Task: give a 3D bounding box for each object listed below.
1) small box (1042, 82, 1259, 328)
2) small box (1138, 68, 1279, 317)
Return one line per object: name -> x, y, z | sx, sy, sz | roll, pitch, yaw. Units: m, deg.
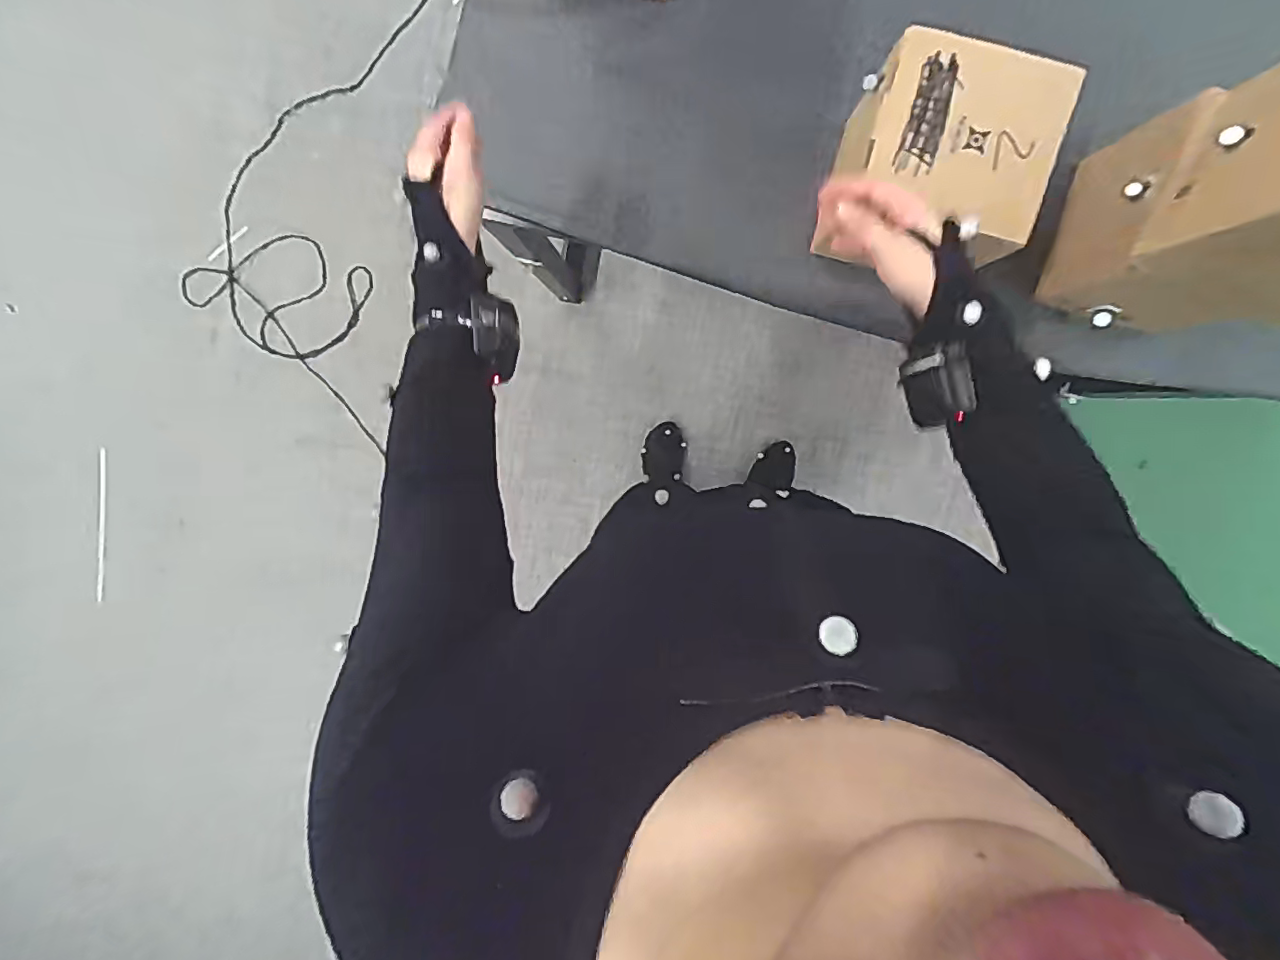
small box -> 0.597, -0.282, 0.596 | 0.168, 0.176, 0.179 | 14, 98, 1
small box -> 0.586, -0.246, 0.438 | 0.179, 0.176, 0.168 | 25, 98, 0
